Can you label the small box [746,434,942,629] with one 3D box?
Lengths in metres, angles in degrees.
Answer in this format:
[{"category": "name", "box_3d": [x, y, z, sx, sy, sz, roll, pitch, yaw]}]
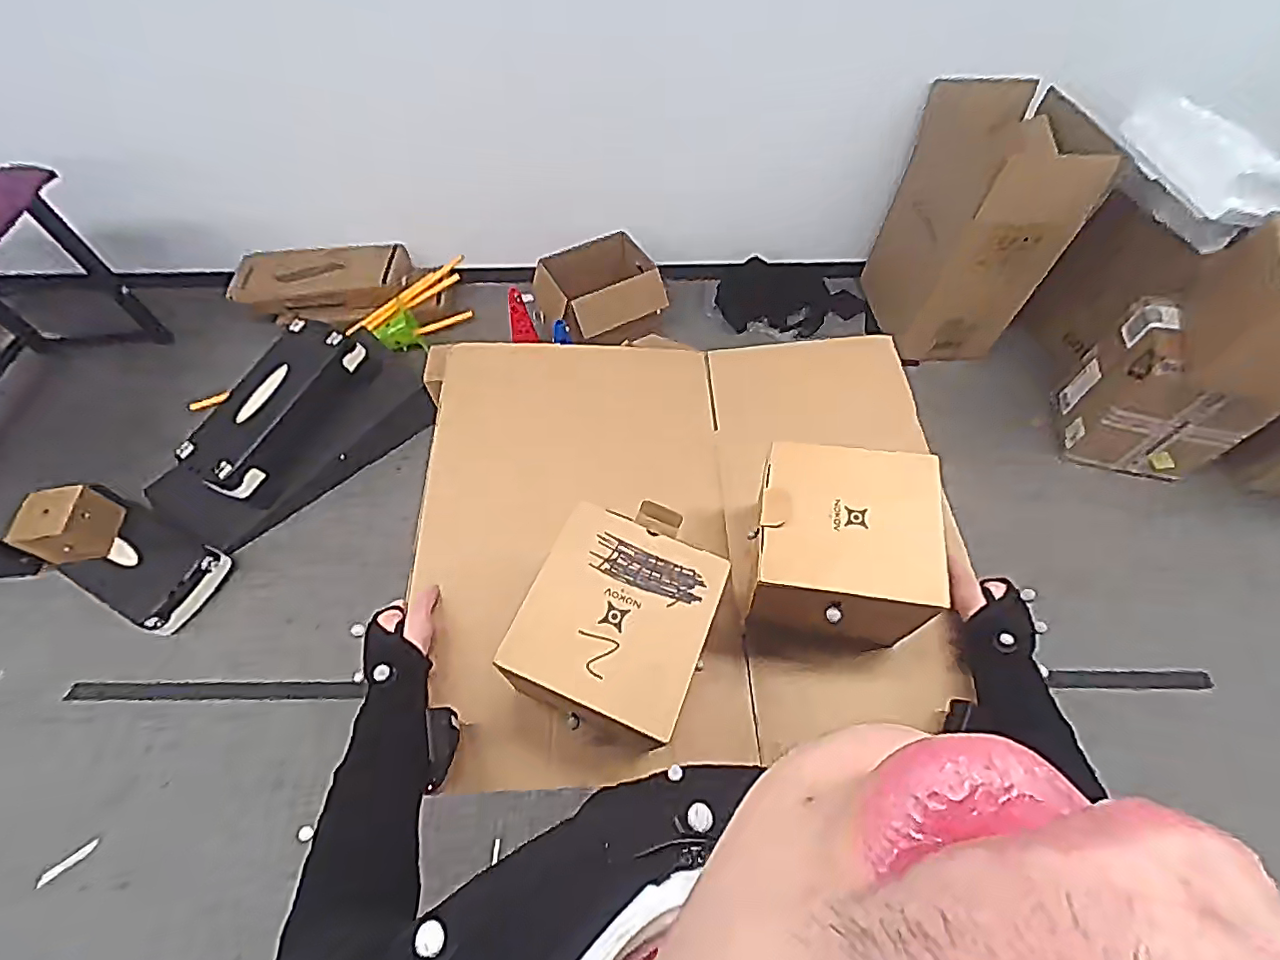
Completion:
[{"category": "small box", "box_3d": [0.224, 0.067, 0.629, 0.179, 0.176, 0.168, 7, 63, 11]}]
